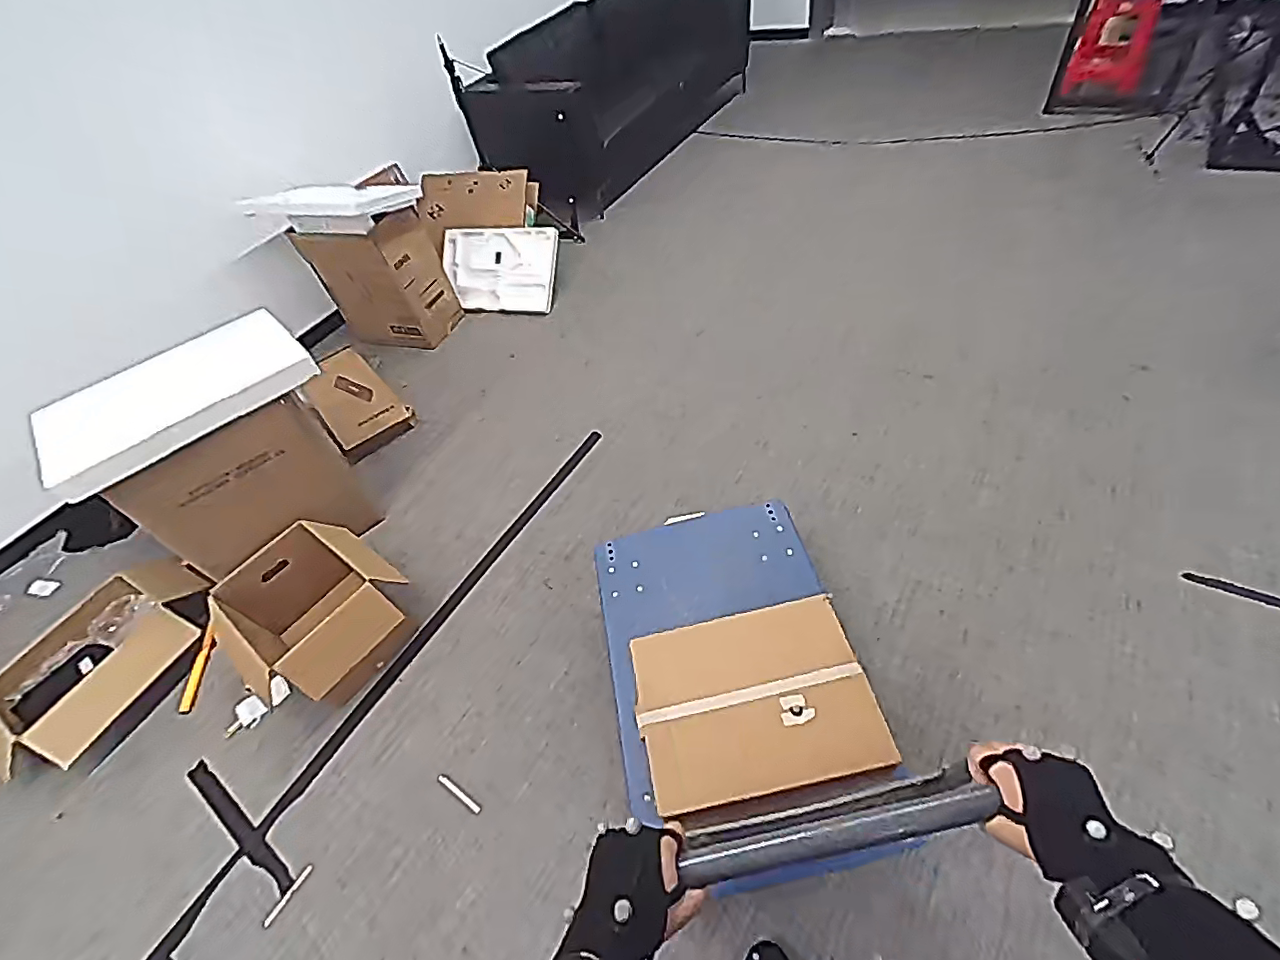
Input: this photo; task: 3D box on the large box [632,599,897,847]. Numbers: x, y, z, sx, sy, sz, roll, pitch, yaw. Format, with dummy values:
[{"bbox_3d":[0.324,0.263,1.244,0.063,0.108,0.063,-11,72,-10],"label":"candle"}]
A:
[{"bbox_3d":[0.223,0.491,1.082,0.408,0.320,0.320,-13,49,0],"label":"large box"}]
